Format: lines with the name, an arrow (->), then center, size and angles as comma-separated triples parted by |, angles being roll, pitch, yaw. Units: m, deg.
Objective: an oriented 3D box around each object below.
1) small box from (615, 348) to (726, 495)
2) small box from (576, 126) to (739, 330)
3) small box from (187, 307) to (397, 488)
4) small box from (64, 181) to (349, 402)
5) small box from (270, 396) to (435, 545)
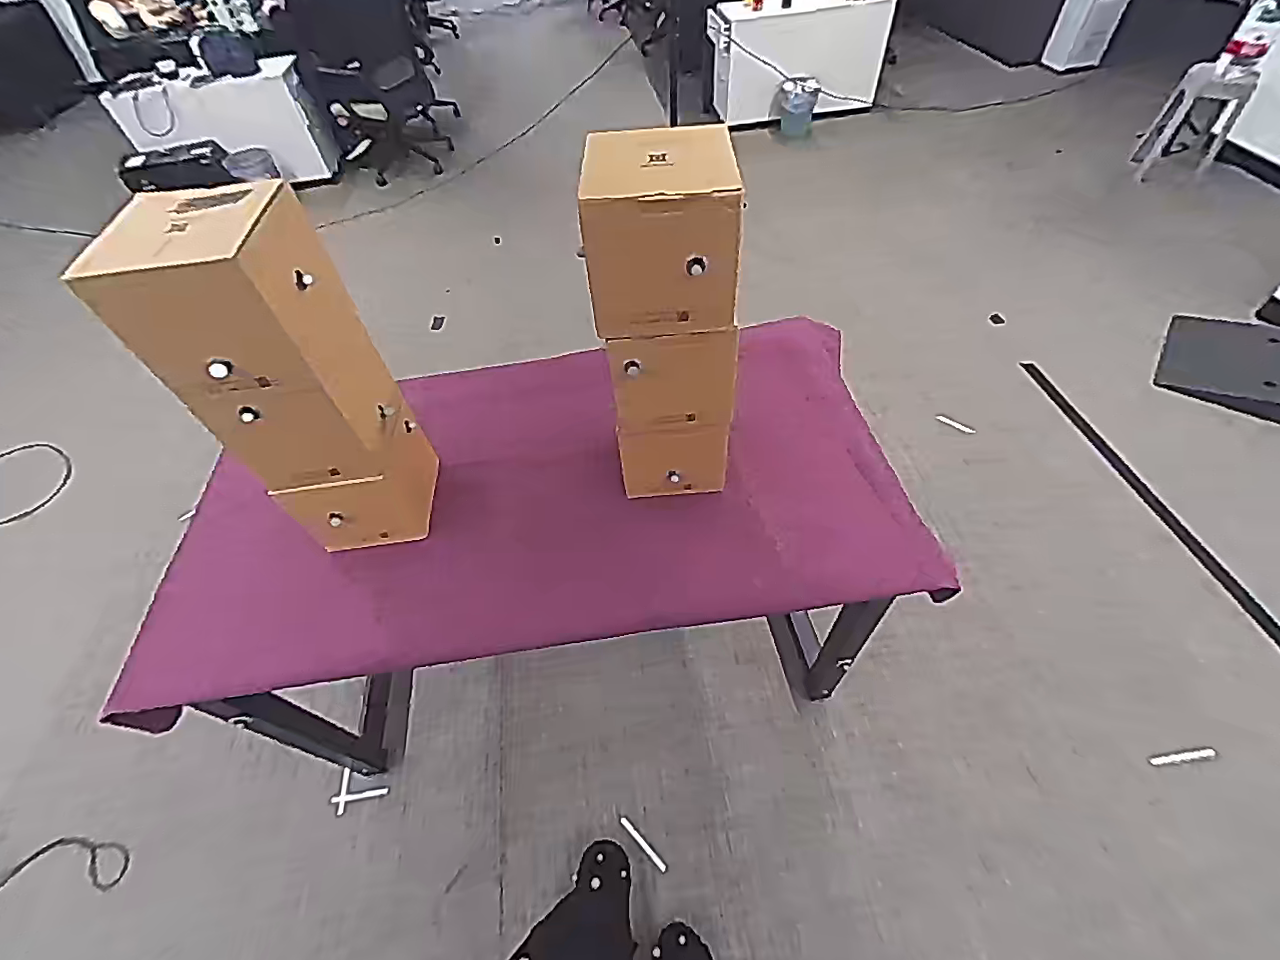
small box -> 0.047, -0.096, 0.905 | 0.168, 0.176, 0.179 | -5, 52, 2
small box -> 0.022, -0.292, 0.645 | 0.168, 0.176, 0.179 | -3, 50, 2
small box -> -0.460, -0.114, 0.754 | 0.168, 0.176, 0.179 | -9, 51, -2
small box -> -0.466, -0.215, 0.624 | 0.168, 0.176, 0.179 | -8, 52, -1
small box -> -0.448, -0.008, 0.879 | 0.168, 0.176, 0.179 | -8, 51, -1
